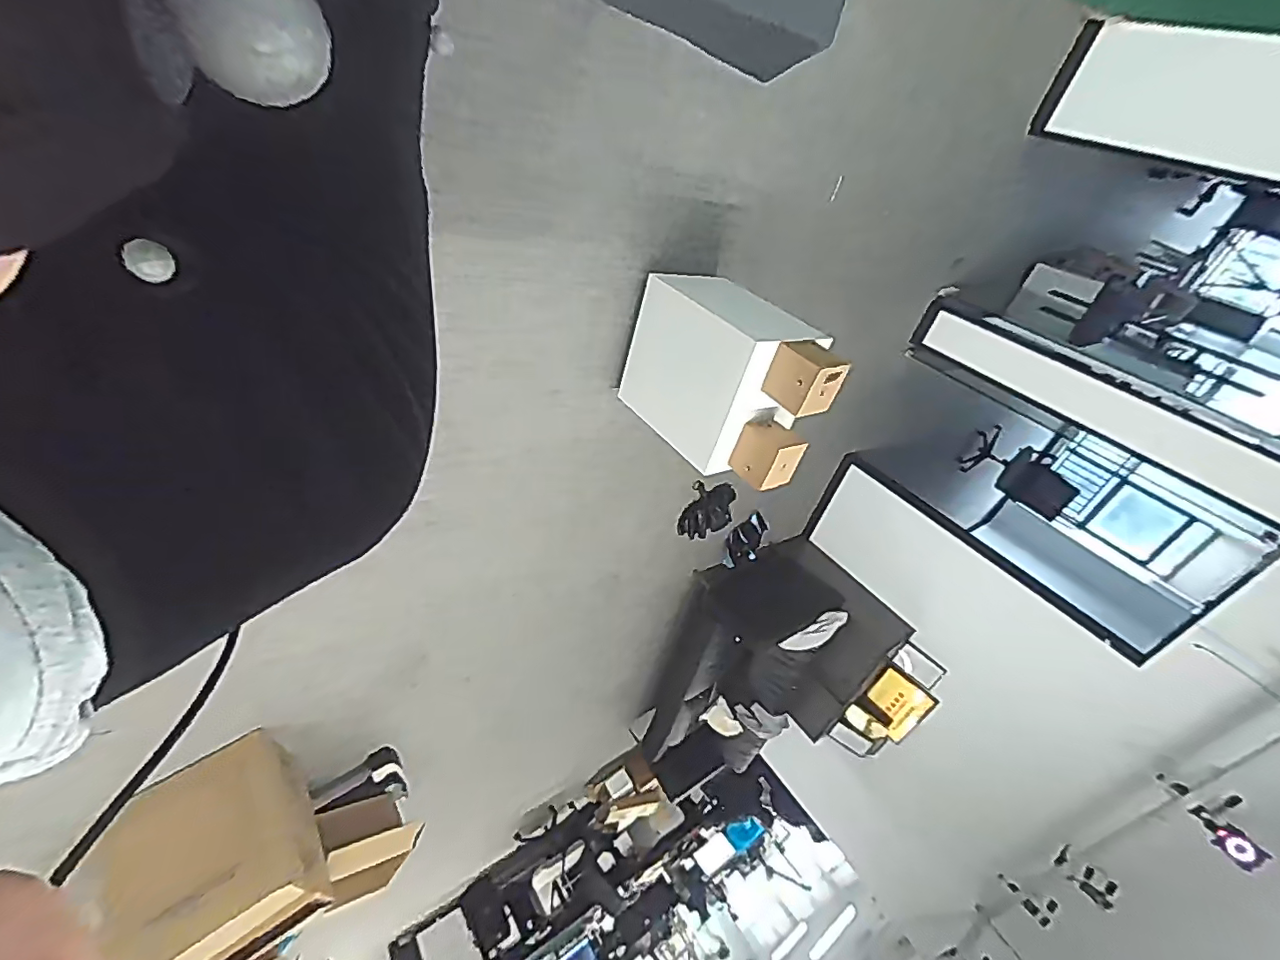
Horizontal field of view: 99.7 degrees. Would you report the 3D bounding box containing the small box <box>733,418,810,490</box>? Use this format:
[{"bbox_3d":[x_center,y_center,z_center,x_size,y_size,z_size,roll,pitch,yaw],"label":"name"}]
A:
[{"bbox_3d":[0.447,-0.093,1.876,0.168,0.176,0.179,-14,133,-38],"label":"small box"}]

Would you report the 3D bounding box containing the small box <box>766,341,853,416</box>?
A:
[{"bbox_3d":[0.528,-0.328,1.710,0.168,0.176,0.179,-15,138,-35],"label":"small box"}]
